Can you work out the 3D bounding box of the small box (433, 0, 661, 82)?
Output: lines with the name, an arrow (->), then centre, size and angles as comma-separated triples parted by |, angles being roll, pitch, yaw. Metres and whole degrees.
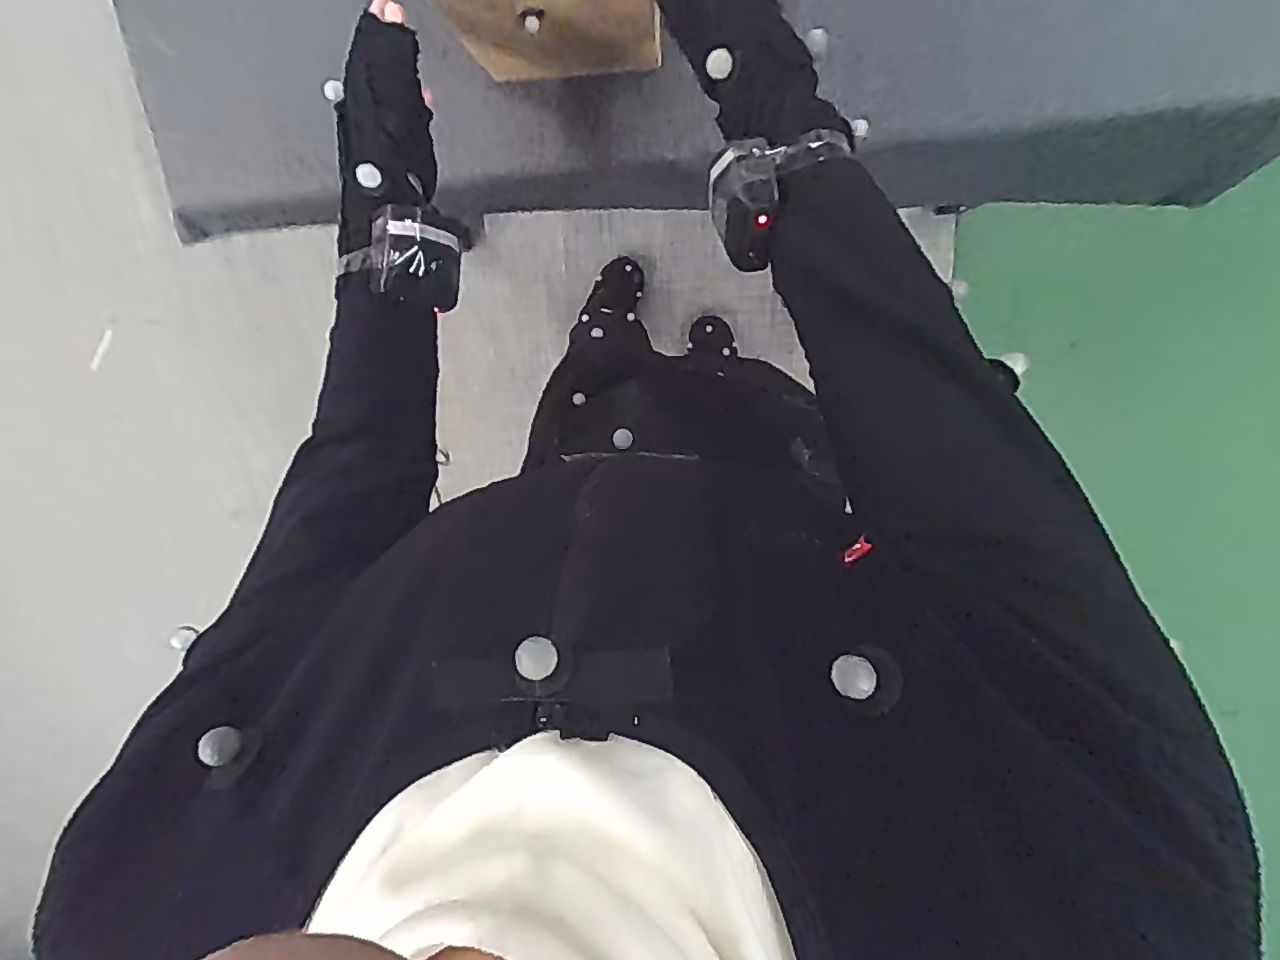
small box -> -0.075, -0.482, 0.479 | 0.179, 0.176, 0.168 | 0, 108, 6
